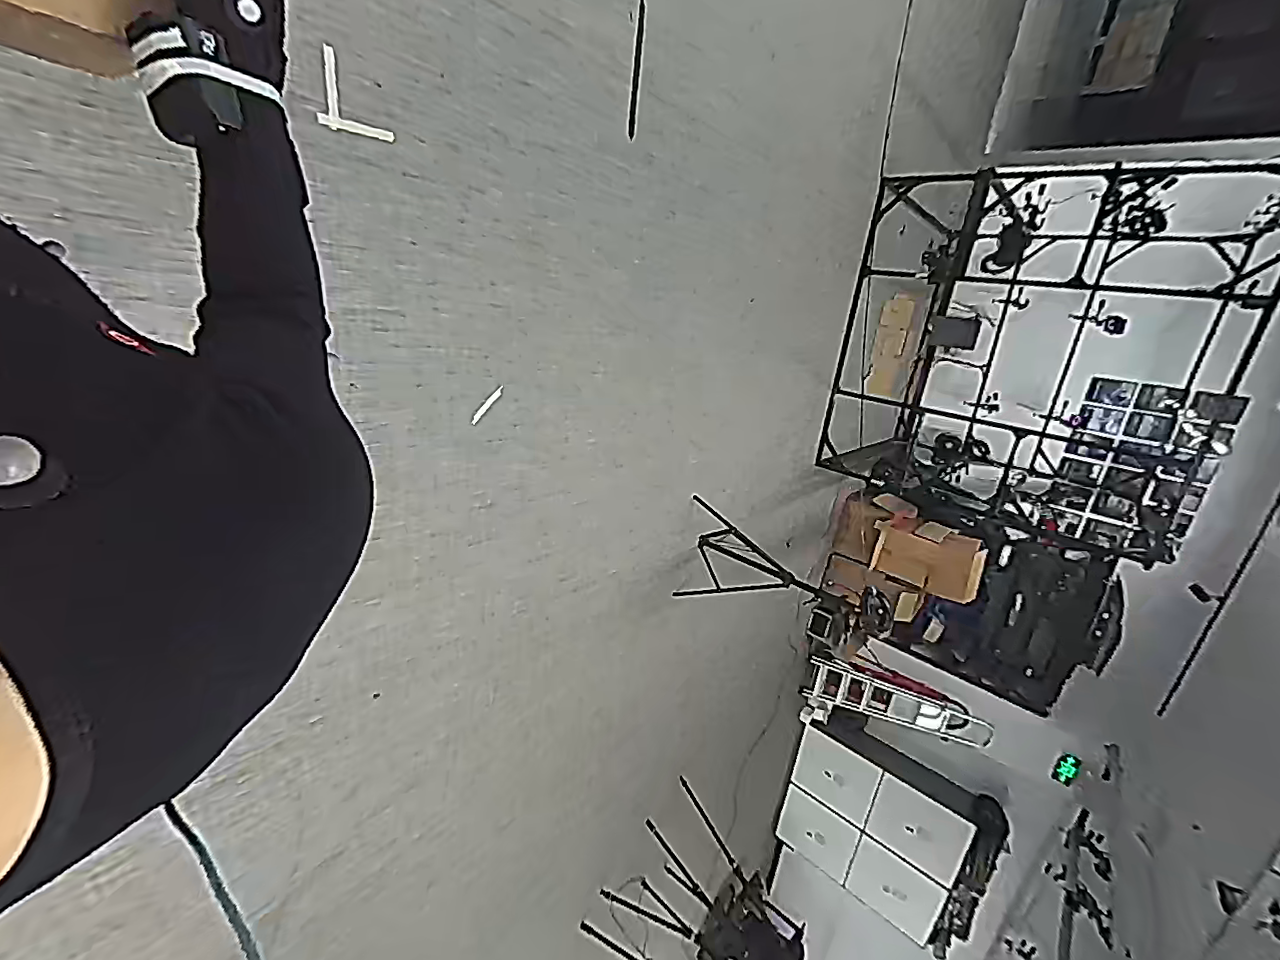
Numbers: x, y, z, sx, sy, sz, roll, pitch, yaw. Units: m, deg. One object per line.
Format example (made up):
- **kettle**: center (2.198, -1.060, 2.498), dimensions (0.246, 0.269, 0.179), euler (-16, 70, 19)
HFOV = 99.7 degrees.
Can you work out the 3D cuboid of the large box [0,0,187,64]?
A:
- **large box**: center (-0.545, -0.483, 0.281), dimensions (0.408, 0.320, 0.320), euler (-13, 123, -50)
